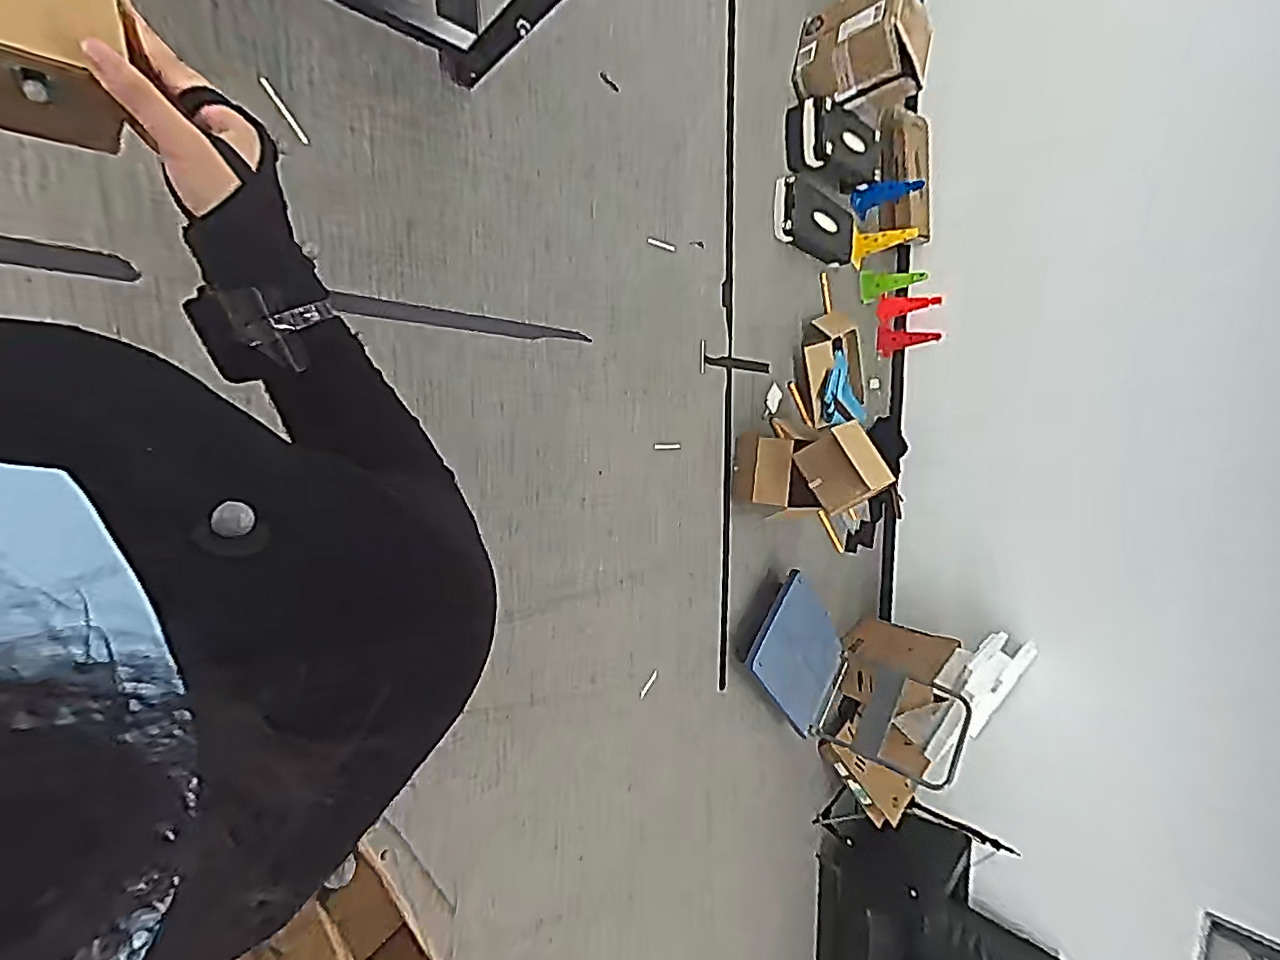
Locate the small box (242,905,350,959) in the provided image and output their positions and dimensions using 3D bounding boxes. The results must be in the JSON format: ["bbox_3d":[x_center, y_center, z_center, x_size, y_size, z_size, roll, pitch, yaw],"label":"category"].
[{"bbox_3d":[-0.386,0.626,0.577,0.179,0.176,0.168,-28,113,-40],"label":"small box"}]

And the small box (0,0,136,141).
[{"bbox_3d":[-0.411,-0.318,0.297,0.179,0.176,0.168,-10,106,-46],"label":"small box"}]
